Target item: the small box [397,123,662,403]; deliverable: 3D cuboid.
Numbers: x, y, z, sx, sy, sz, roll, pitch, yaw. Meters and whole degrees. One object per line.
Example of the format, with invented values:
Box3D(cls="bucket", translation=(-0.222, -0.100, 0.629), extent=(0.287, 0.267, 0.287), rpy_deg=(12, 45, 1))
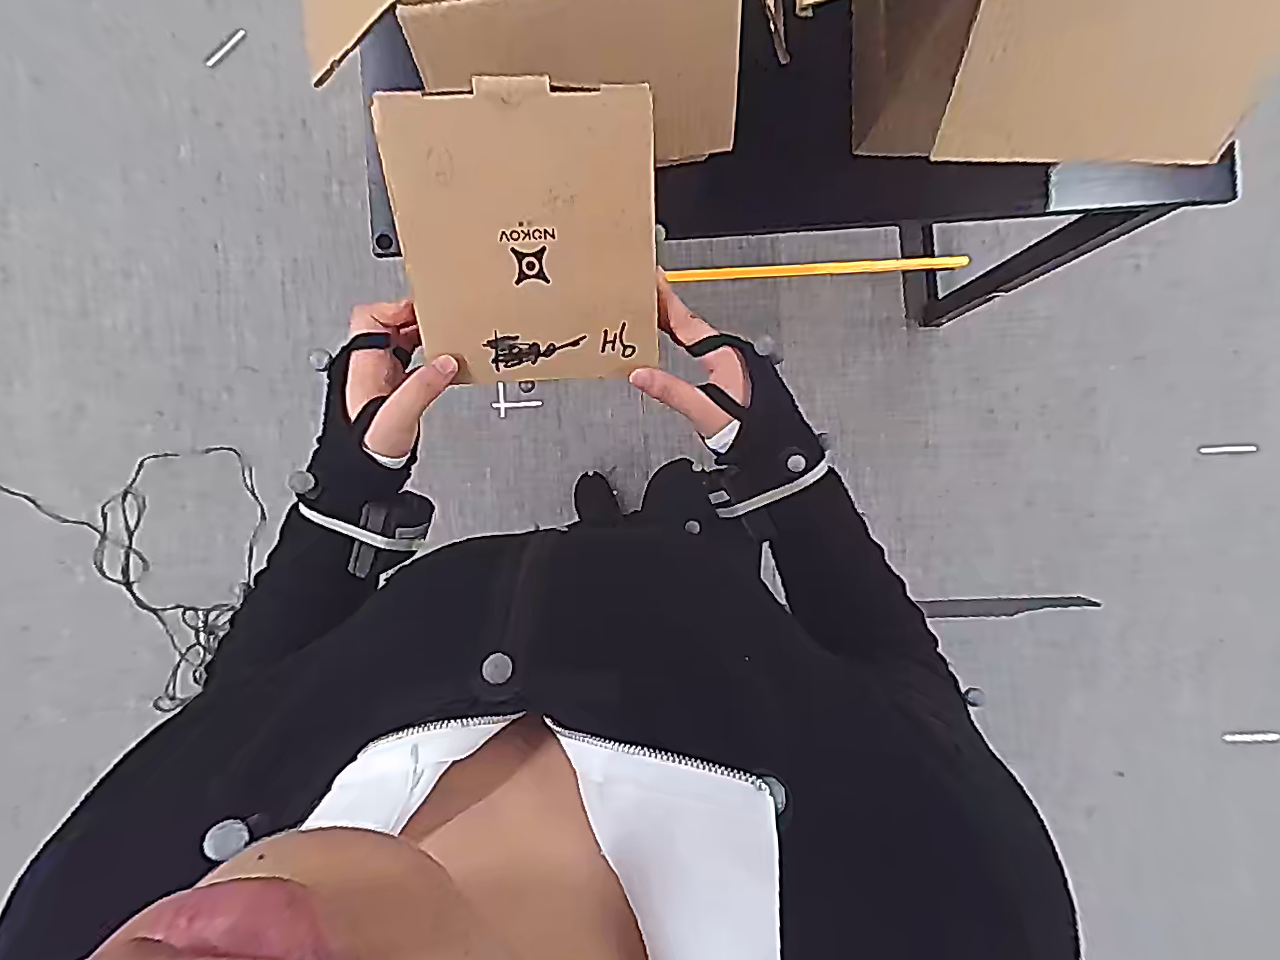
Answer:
Box3D(cls="small box", translation=(-0.071, -0.173, 0.439), extent=(0.168, 0.176, 0.179), rpy_deg=(-3, 117, -2))
